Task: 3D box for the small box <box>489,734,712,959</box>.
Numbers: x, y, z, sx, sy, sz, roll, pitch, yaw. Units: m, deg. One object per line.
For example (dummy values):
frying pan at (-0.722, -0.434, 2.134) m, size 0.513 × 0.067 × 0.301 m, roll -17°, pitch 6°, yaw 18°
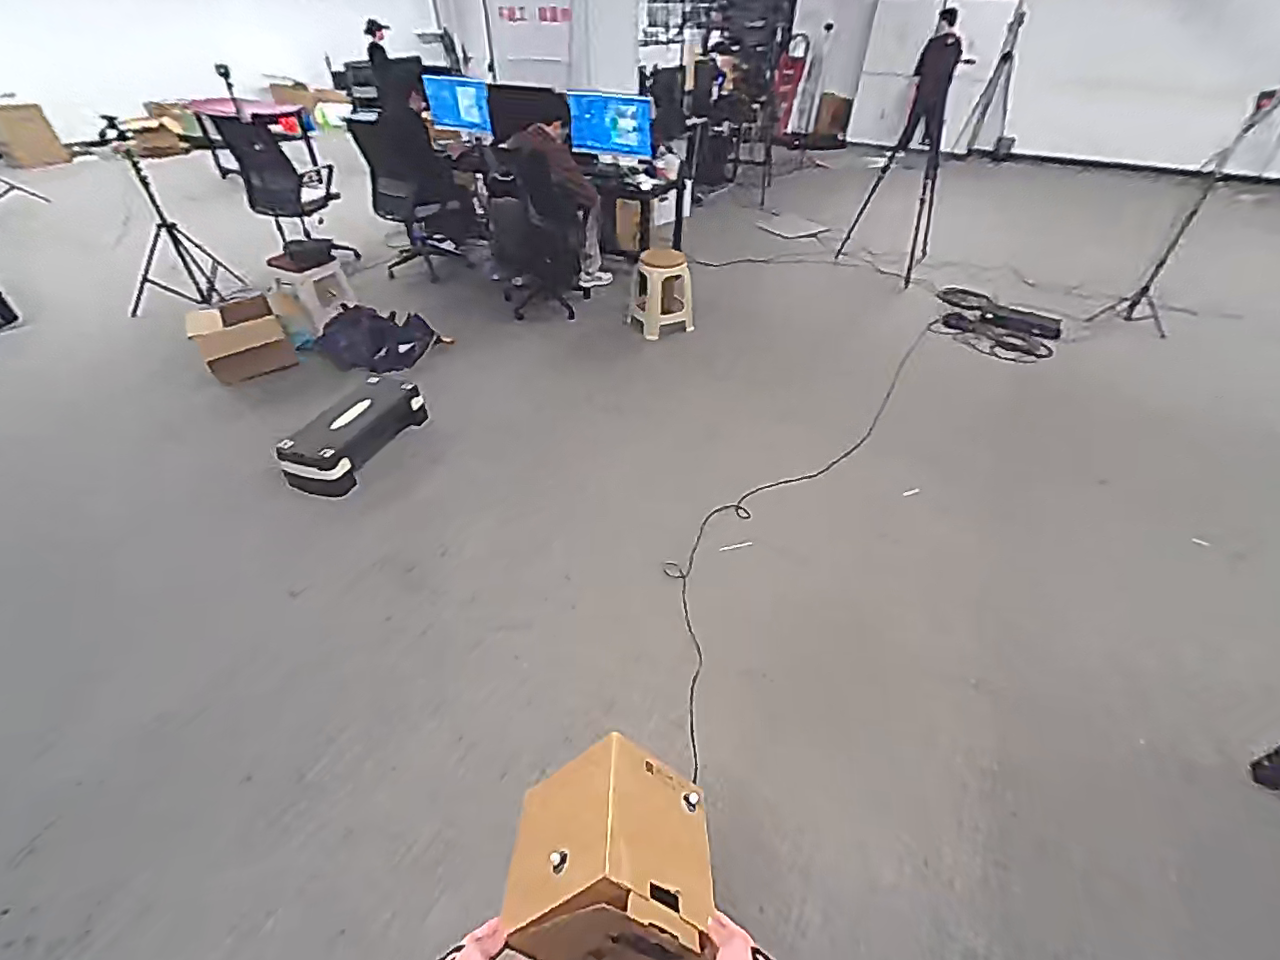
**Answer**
small box at (-0.042, 0.436, 0.628) m, size 0.168 × 0.179 × 0.176 m, roll 42°, pitch 19°, yaw -18°
